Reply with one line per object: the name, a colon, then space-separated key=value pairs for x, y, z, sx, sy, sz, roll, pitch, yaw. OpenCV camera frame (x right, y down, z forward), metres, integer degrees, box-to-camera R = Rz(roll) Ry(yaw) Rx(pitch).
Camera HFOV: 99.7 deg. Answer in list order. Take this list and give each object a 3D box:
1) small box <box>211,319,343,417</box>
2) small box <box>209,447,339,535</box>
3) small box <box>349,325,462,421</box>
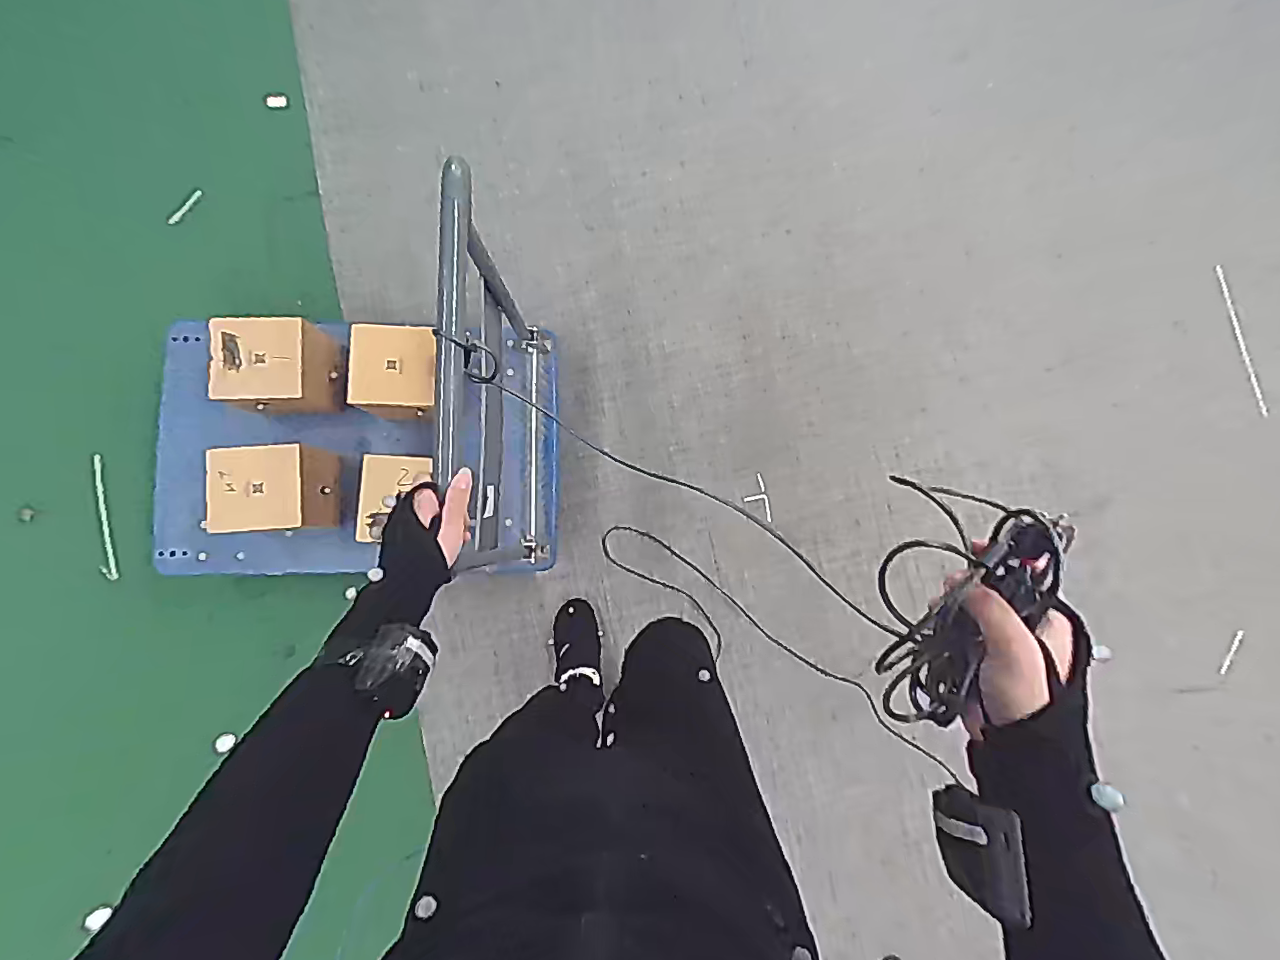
small box: x=-0.761 y=-0.231 z=1.147 sx=0.179 sy=0.176 sz=0.168 roll=-2 pitch=86 yaw=-5
small box: x=-0.748 y=0.025 z=1.126 sx=0.179 sy=0.176 sz=0.168 roll=-4 pitch=84 yaw=-5
small box: x=-0.498 y=-0.223 z=1.168 sx=0.179 sy=0.176 sz=0.168 roll=1 pitch=85 yaw=-5
